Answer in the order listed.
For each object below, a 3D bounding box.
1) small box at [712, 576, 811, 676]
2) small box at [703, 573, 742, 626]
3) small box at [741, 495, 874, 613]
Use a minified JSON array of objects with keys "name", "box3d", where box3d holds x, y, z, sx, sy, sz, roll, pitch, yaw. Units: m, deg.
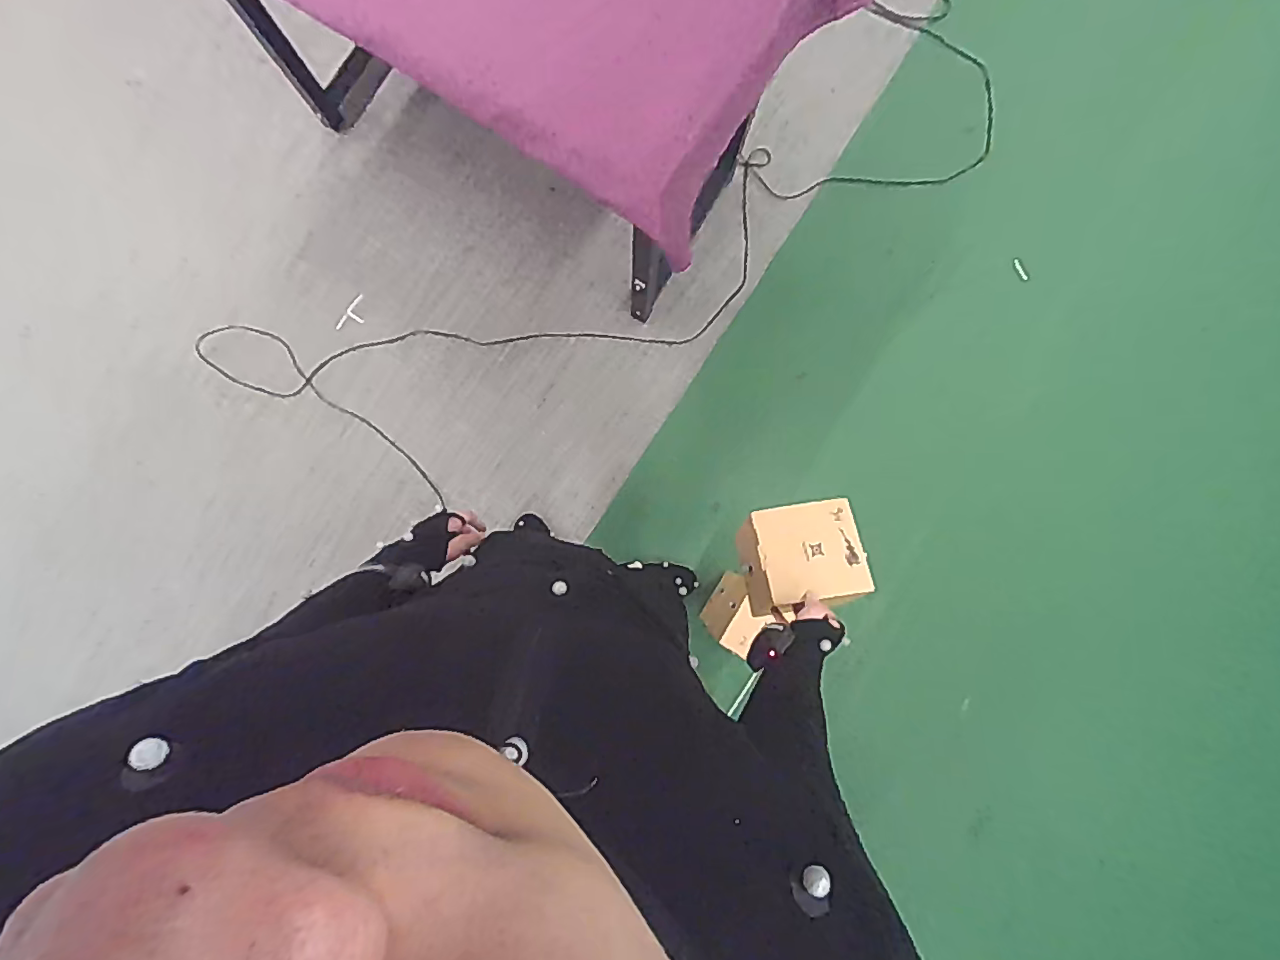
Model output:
[{"name":"small box","box3d":[0.304,0.368,1.400,0.168,0.176,0.179,32,86,0]},{"name":"small box","box3d":[0.300,0.381,1.564,0.179,0.176,0.168,32,86,-1]},{"name":"small box","box3d":[0.285,0.140,0.973,0.179,0.176,0.168,-8,70,-2]}]
